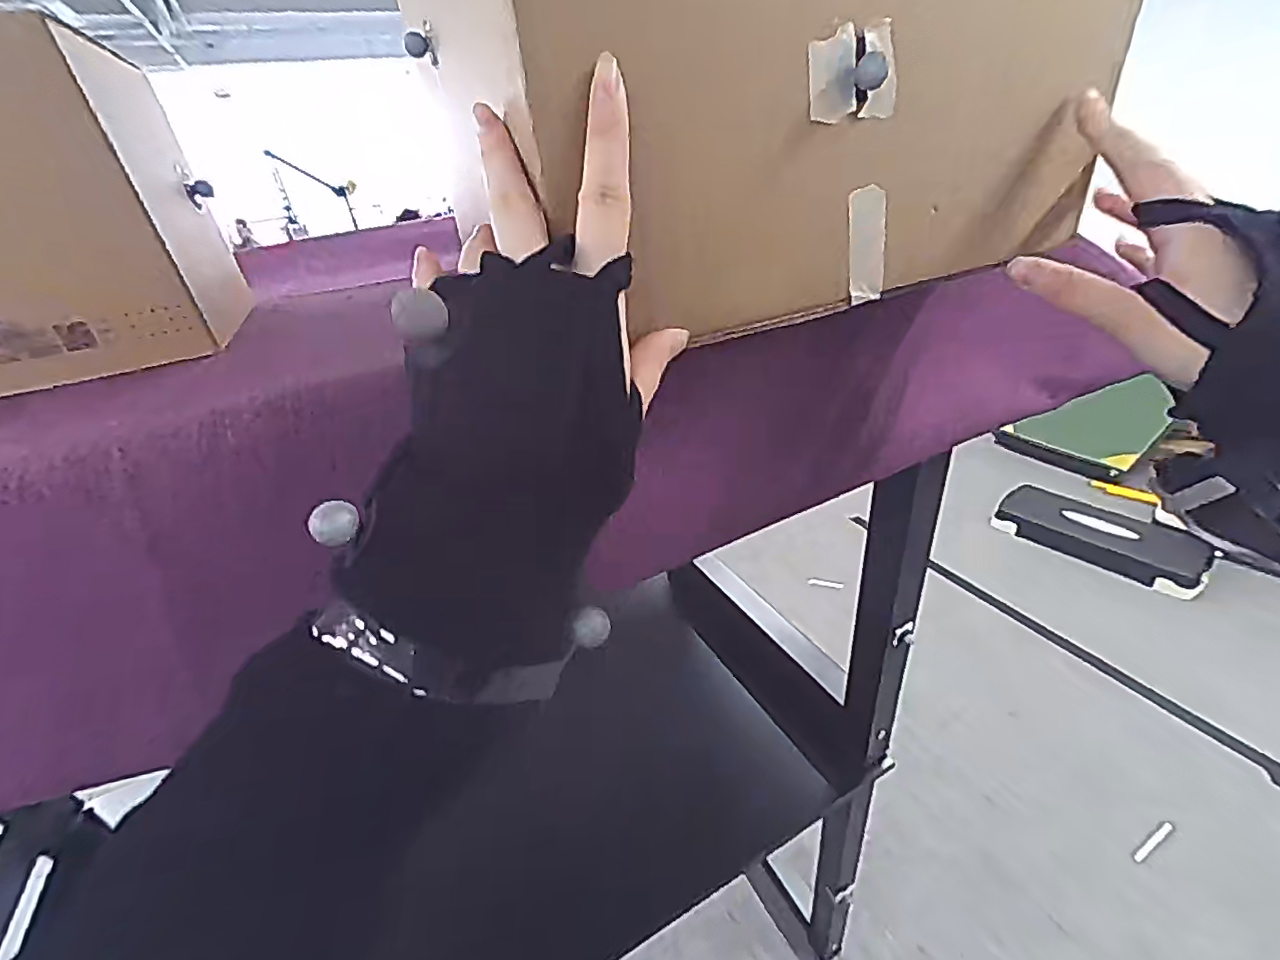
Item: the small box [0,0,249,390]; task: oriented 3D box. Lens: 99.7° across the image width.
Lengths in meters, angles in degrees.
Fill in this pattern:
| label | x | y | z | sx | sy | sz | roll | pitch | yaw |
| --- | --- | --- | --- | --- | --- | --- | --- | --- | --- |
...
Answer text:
| label | x | y | z | sx | sy | sz | roll | pitch | yaw |
| --- | --- | --- | --- | --- | --- | --- | --- | --- | --- |
| small box | -0.375 | -0.161 | 0.330 | 0.168 | 0.176 | 0.179 | -20 | 34 | -19 |
